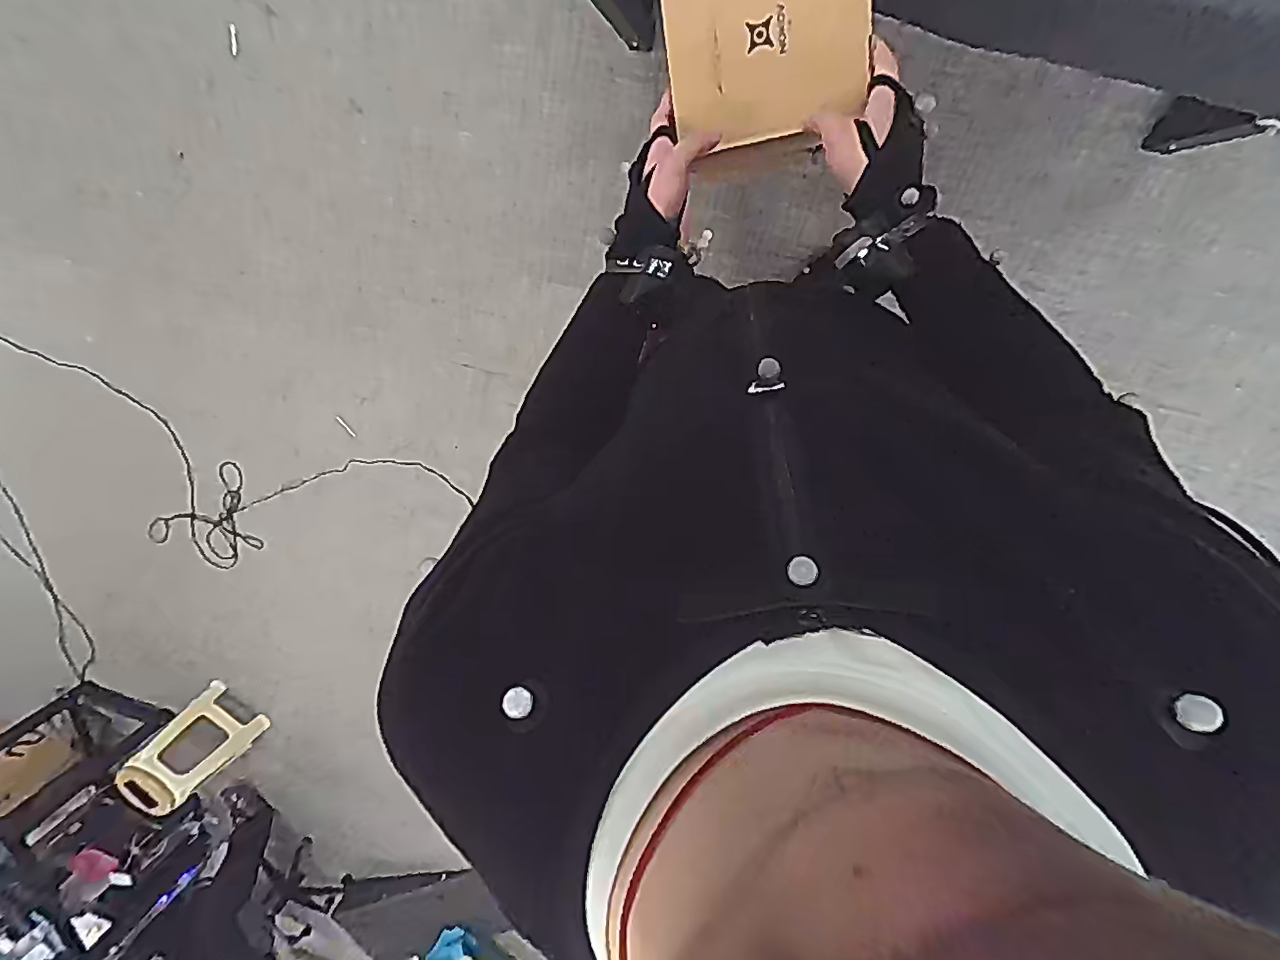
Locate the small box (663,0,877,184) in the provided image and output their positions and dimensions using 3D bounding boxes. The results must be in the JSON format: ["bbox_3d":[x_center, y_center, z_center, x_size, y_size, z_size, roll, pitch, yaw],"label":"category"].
[{"bbox_3d":[0.128,-0.411,0.534,0.179,0.176,0.168,-2,107,16],"label":"small box"}]
